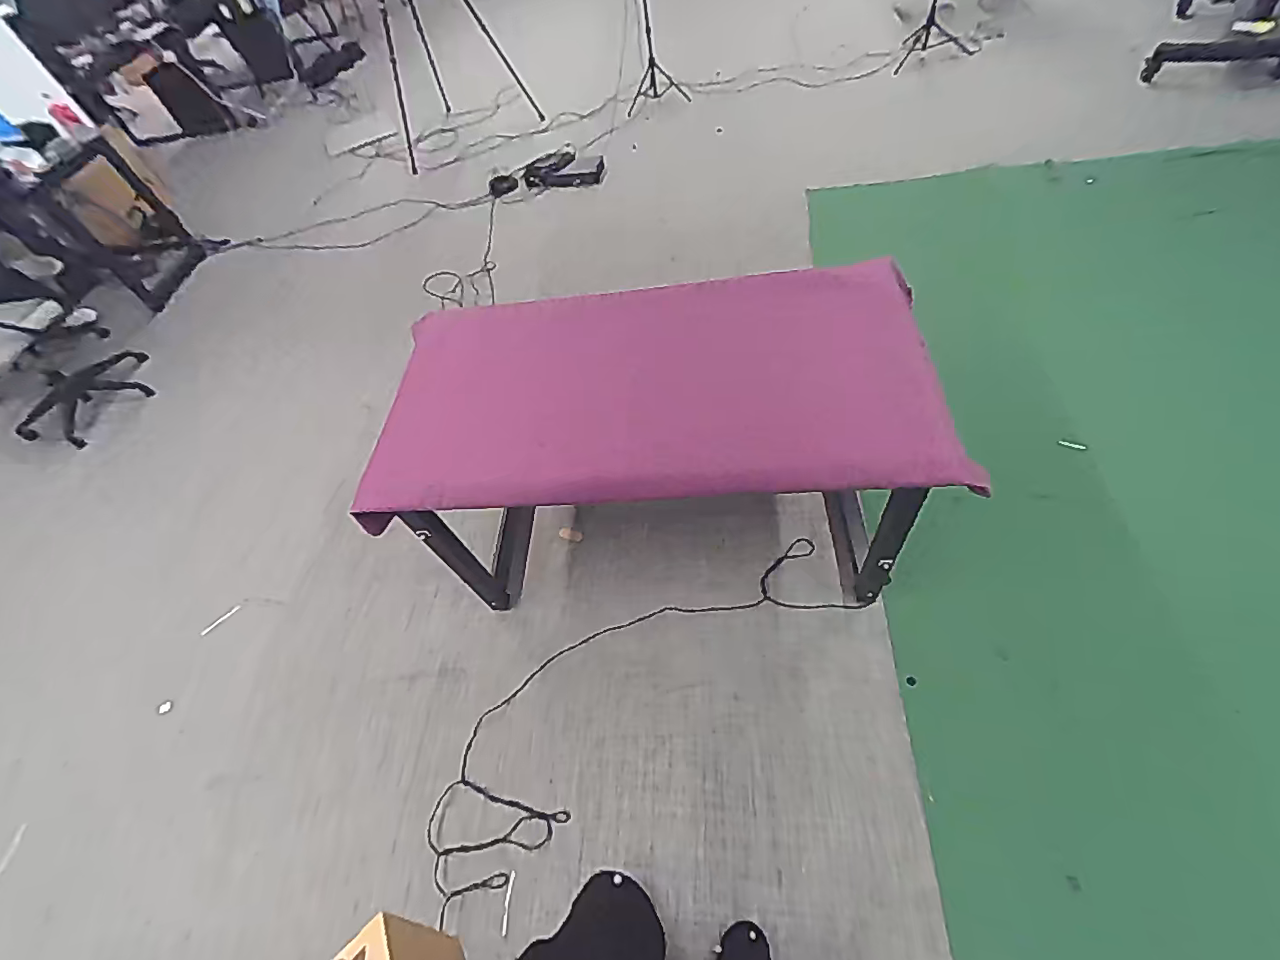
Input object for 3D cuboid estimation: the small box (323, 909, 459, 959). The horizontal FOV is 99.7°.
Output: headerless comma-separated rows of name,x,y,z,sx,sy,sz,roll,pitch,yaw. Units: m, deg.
small box,-0.307,0.665,0.629,0.168,0.176,0.179,-40,38,-15
